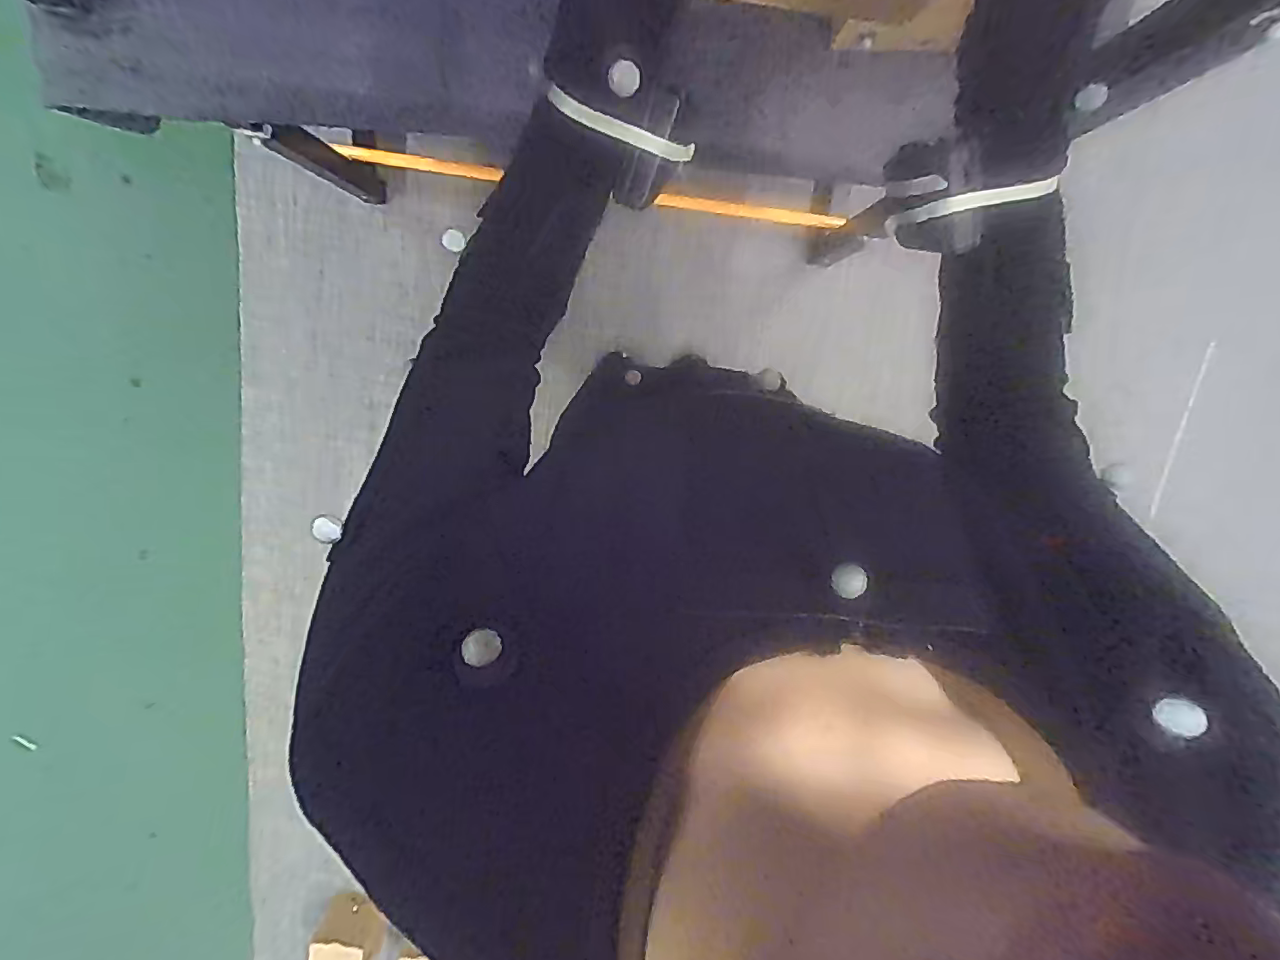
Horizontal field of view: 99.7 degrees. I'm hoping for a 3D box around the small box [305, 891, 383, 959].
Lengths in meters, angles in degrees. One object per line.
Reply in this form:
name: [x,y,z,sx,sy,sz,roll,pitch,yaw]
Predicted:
small box: [-0.951,1.487,1.747,0.168,0.176,0.179,10,101,-2]
